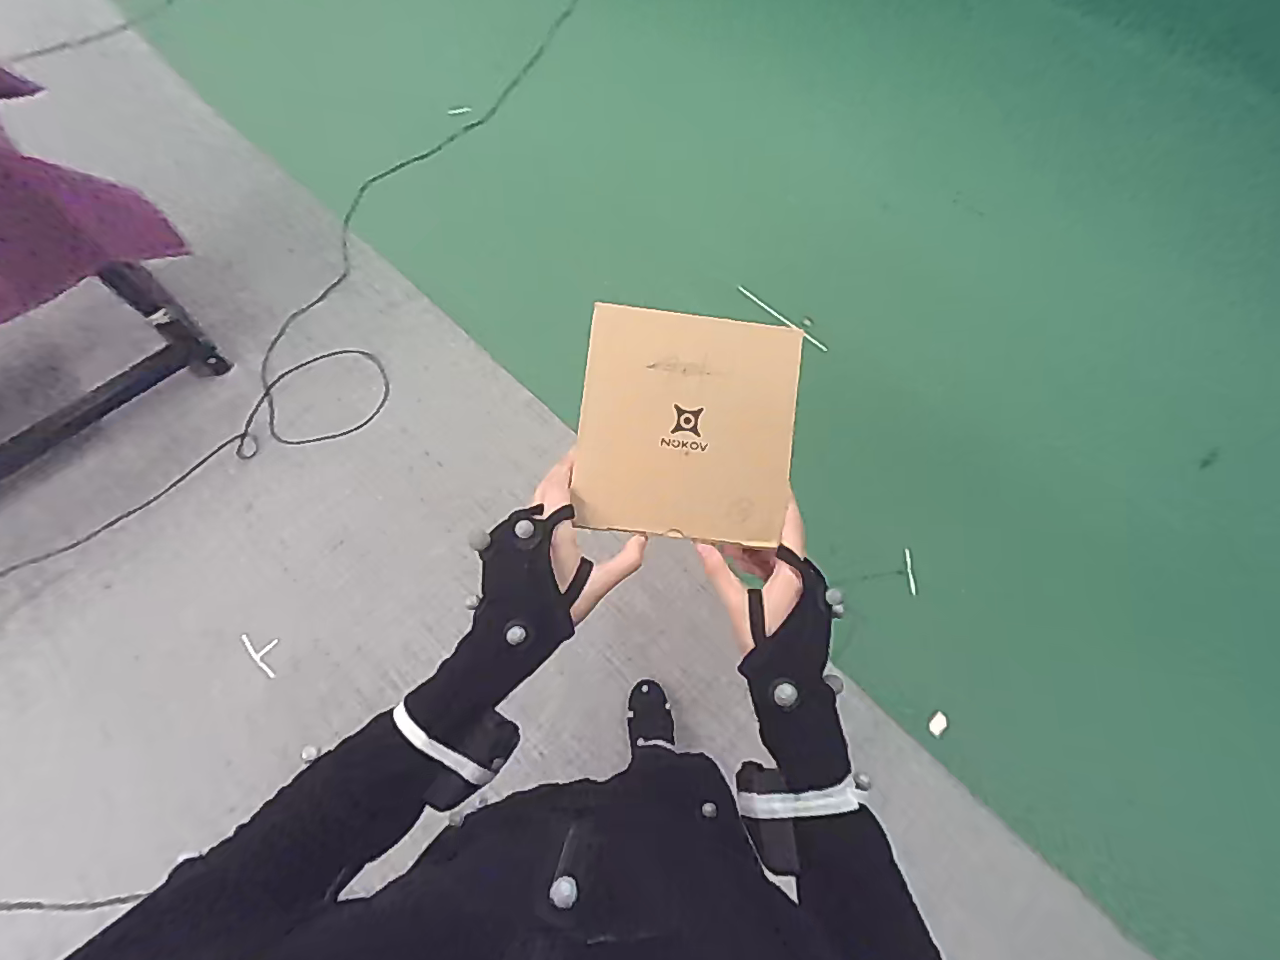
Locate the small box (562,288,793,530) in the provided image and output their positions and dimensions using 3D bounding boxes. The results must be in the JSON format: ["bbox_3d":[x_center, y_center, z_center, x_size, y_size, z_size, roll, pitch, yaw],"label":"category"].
[{"bbox_3d":[0.029,-0.051,0.500,0.168,0.176,0.179,7,86,-2],"label":"small box"}]
